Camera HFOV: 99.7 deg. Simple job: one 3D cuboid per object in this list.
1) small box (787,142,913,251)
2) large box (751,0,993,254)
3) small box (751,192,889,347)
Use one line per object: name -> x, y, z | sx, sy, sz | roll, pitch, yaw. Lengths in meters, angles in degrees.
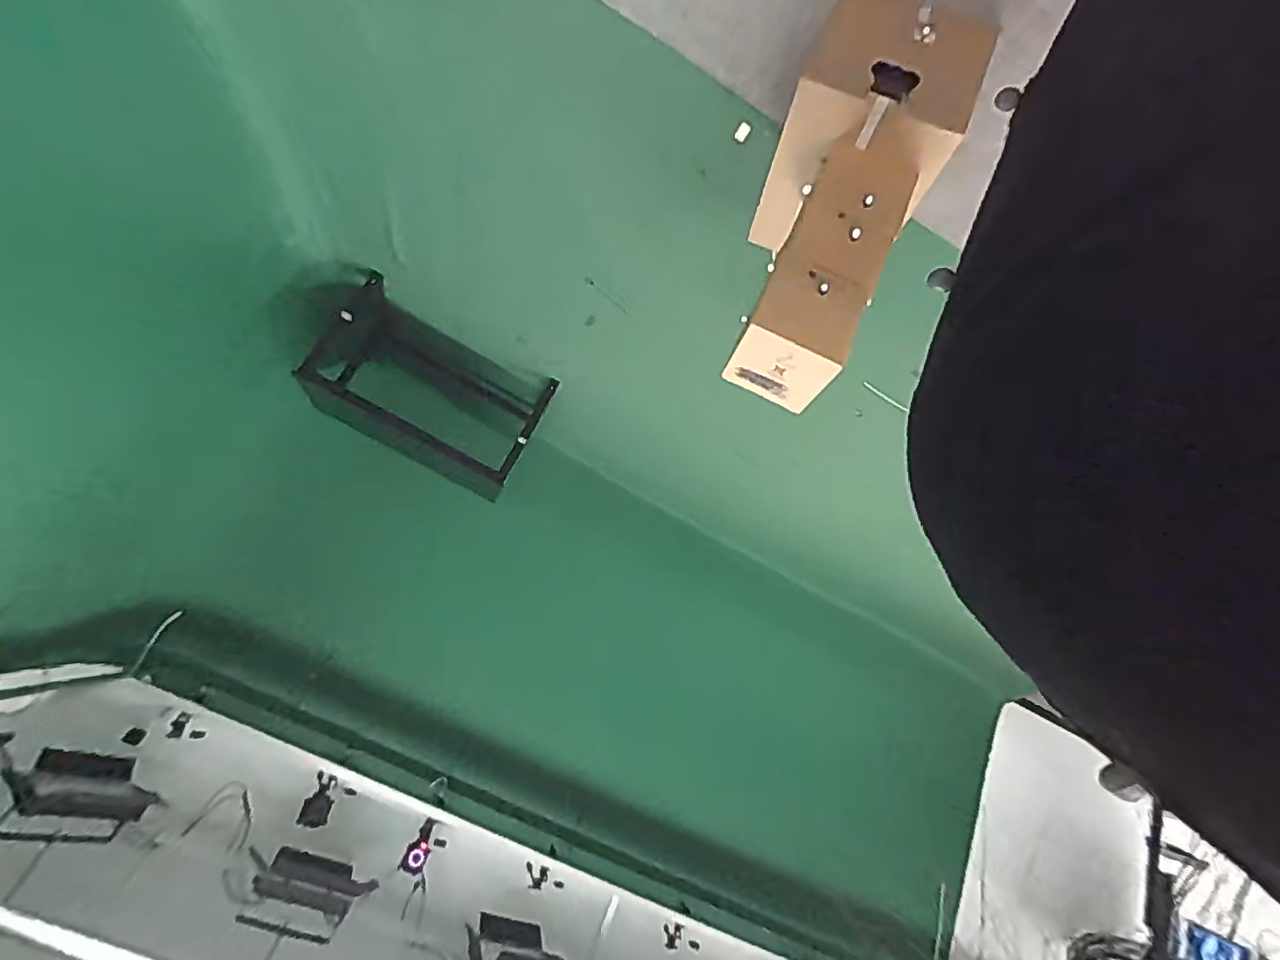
small box -> 0.410, -0.526, 1.079 | 0.179, 0.176, 0.168 | 25, 160, 0
large box -> 0.480, -0.740, 1.187 | 0.320, 0.320, 0.408 | 25, 162, 6
small box -> 0.339, -0.392, 1.022 | 0.168, 0.176, 0.179 | 26, 160, -1
